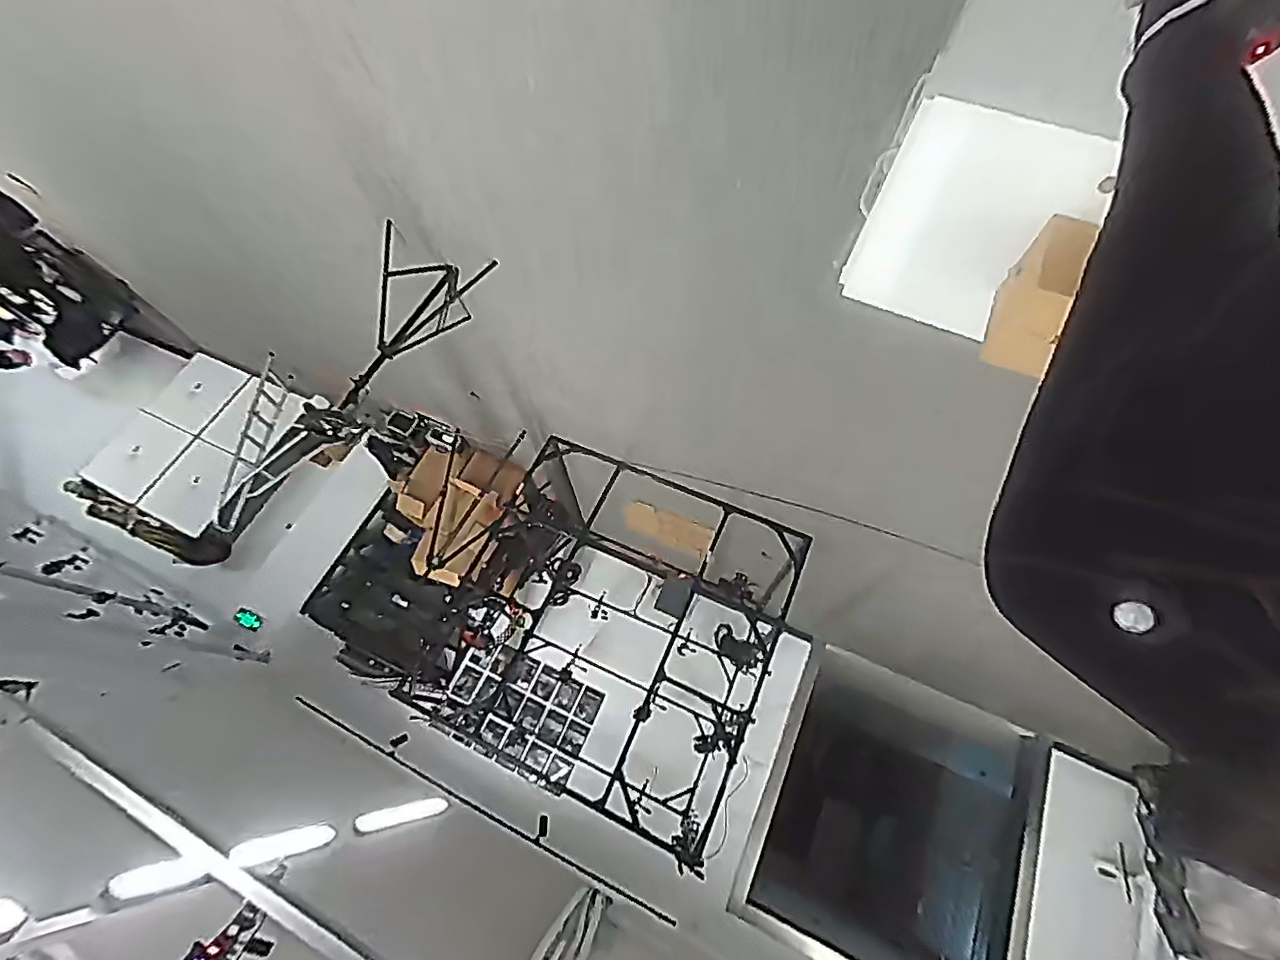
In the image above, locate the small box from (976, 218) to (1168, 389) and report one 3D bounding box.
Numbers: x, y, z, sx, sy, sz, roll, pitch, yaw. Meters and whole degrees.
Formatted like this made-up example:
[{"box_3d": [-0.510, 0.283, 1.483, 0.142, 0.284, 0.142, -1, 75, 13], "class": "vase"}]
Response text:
[{"box_3d": [0.678, -0.280, 0.854, 0.179, 0.176, 0.168, 23, 157, 13], "class": "small box"}]
